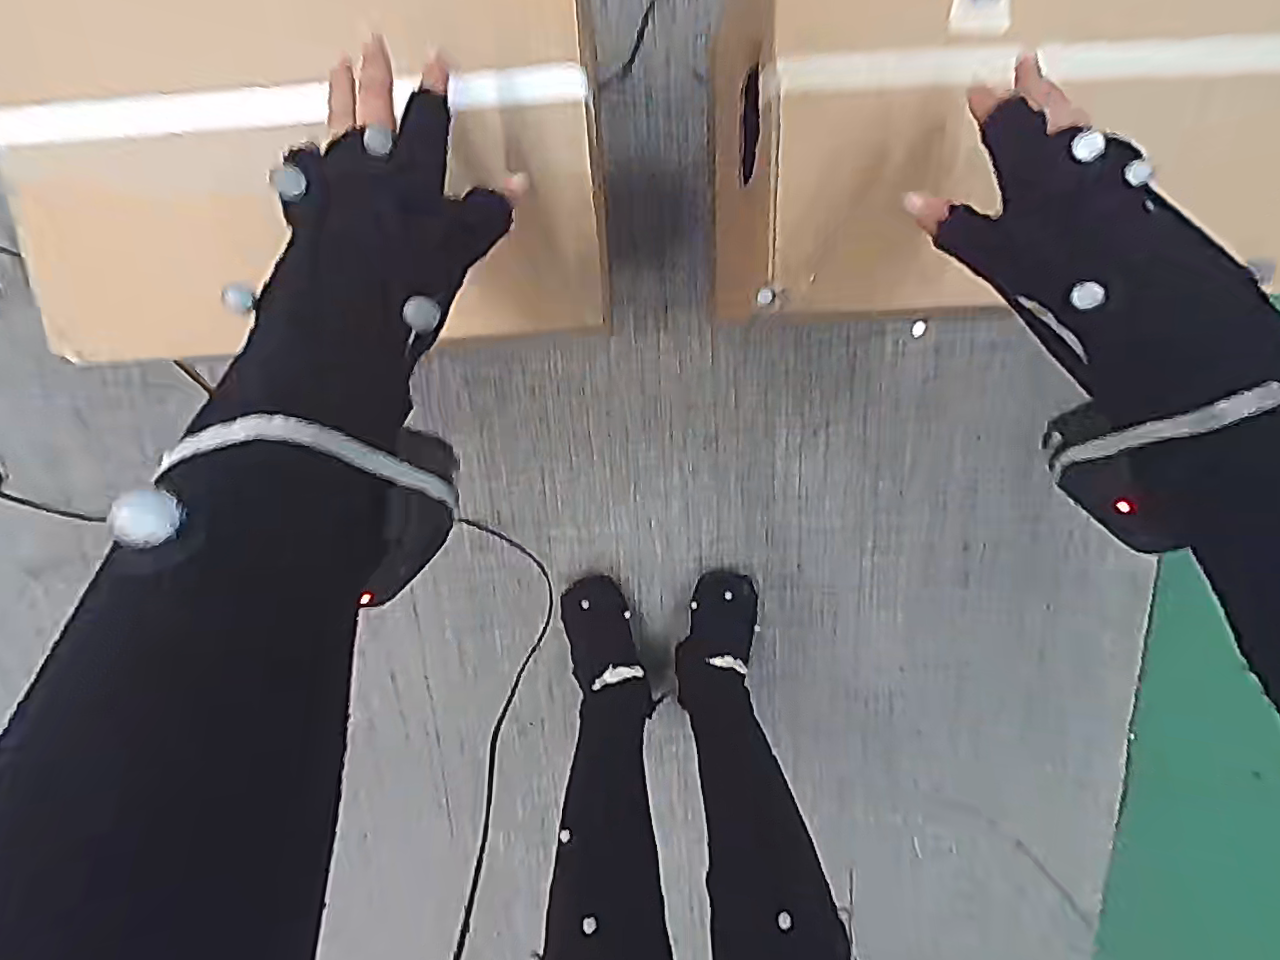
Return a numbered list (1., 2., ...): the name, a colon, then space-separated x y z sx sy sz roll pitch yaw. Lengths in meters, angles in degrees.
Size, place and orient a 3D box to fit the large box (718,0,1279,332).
1. large box: 0.300 -0.317 0.547 0.408 0.320 0.320 -2 103 0
